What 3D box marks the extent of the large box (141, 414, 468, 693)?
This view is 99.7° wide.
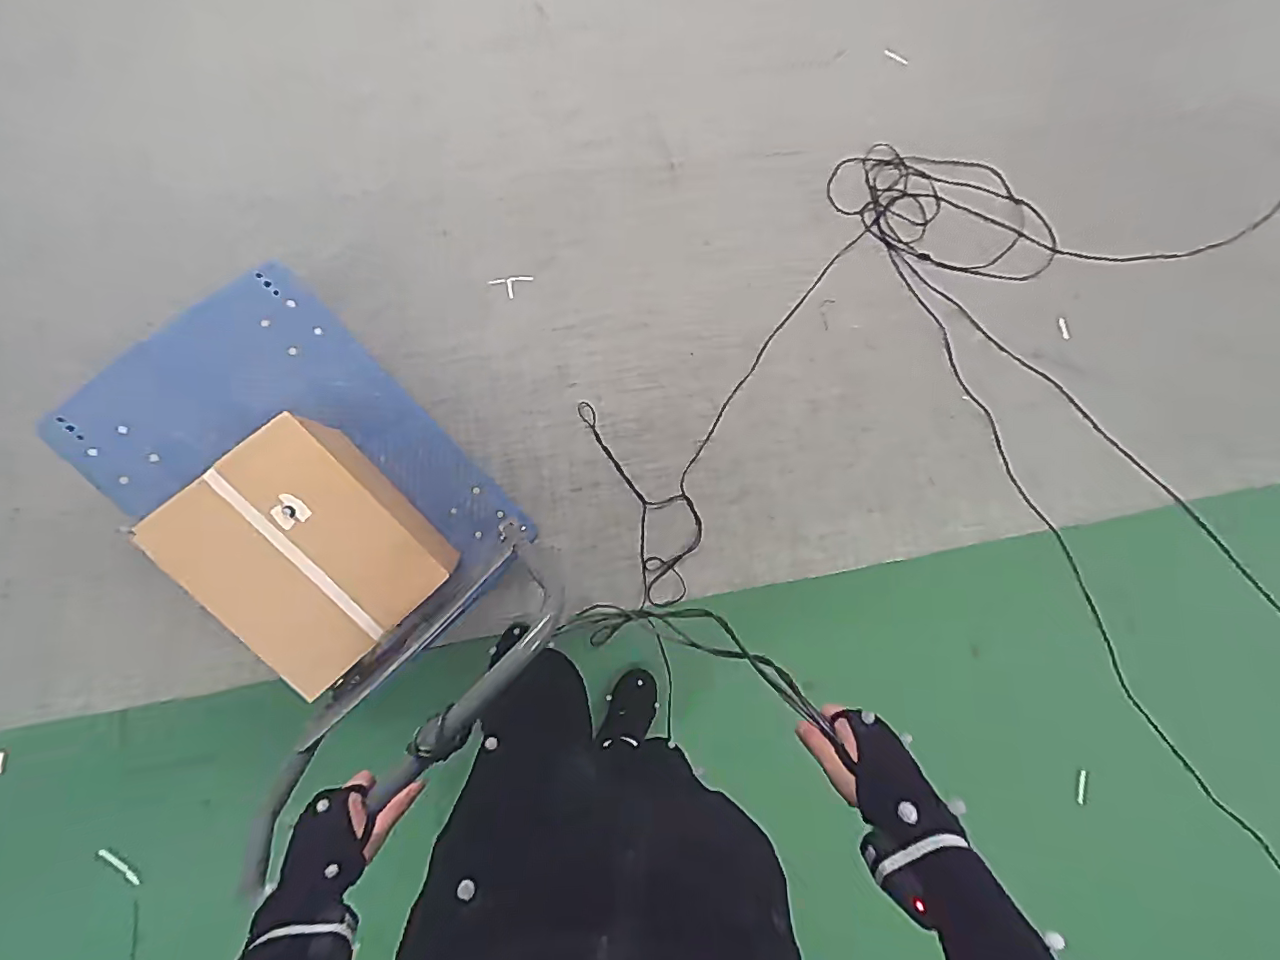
[{"bbox_3d":[-0.611,0.133,1.083,0.320,0.320,0.408,-44,98,-12],"label":"large box"}]
